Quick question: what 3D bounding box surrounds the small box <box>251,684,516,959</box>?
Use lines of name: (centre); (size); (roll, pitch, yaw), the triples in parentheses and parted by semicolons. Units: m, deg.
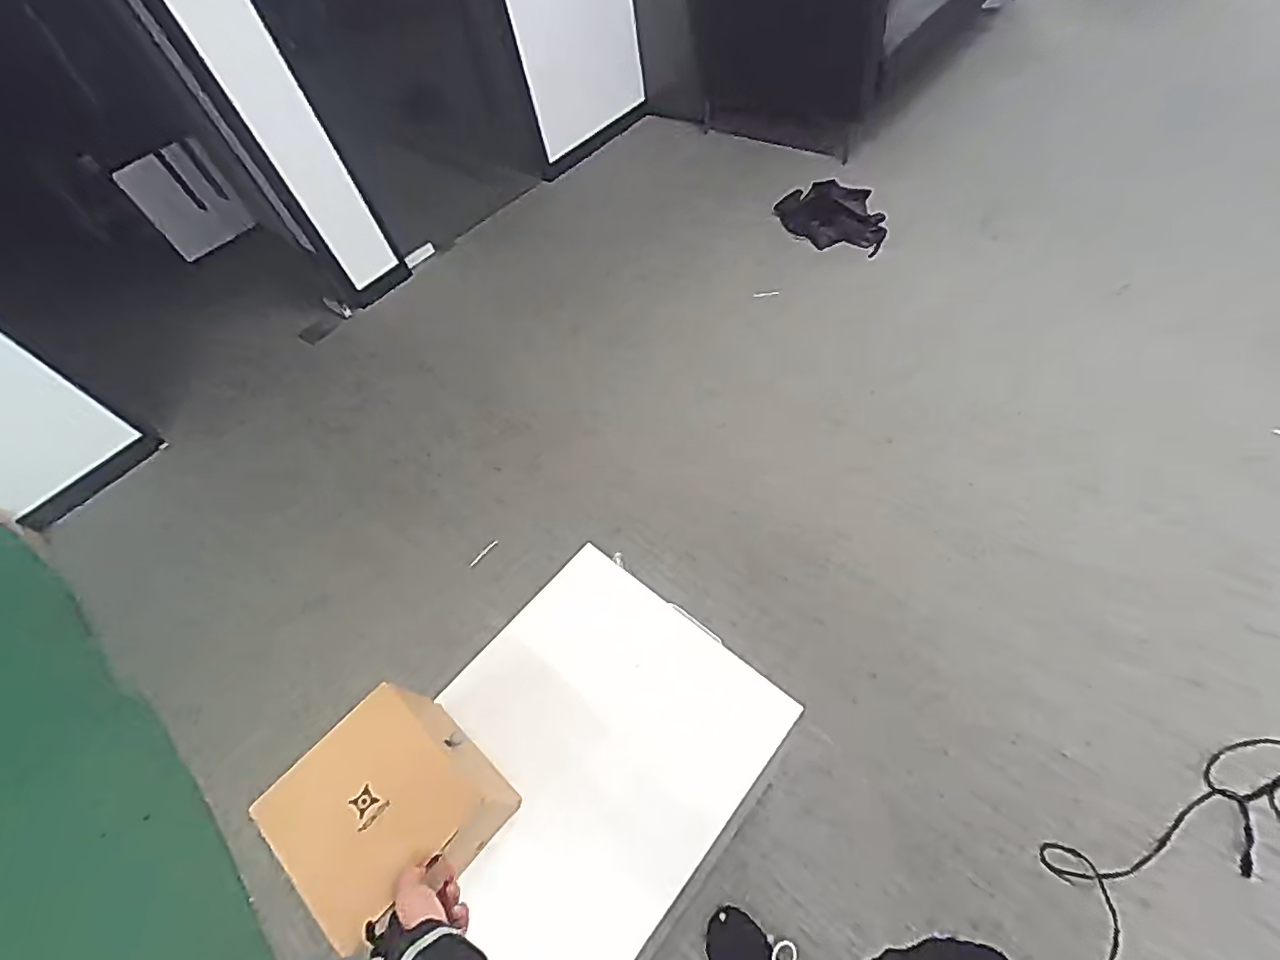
small box: (-0.265, 0.362, 0.596); (0.179, 0.176, 0.168); (38, 67, 20)
